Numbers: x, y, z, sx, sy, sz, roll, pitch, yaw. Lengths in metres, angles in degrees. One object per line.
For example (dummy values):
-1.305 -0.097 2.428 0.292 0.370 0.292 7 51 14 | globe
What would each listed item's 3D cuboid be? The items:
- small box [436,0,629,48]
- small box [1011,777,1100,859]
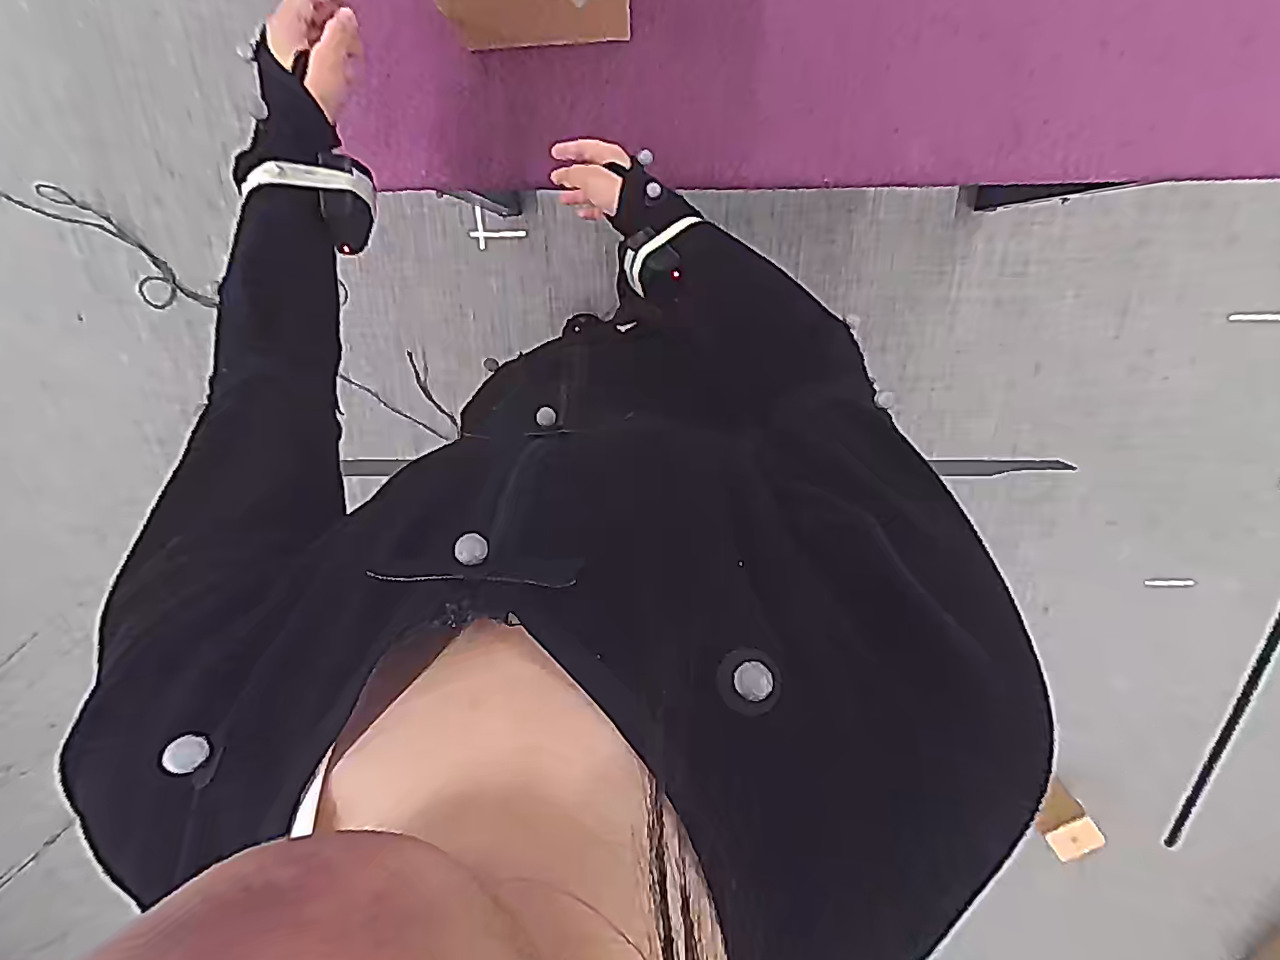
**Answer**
-0.098 -0.508 0.469 0.179 0.176 0.168 -3 110 0 | small box
1.497 1.215 1.959 0.168 0.176 0.179 -36 109 13 | small box
